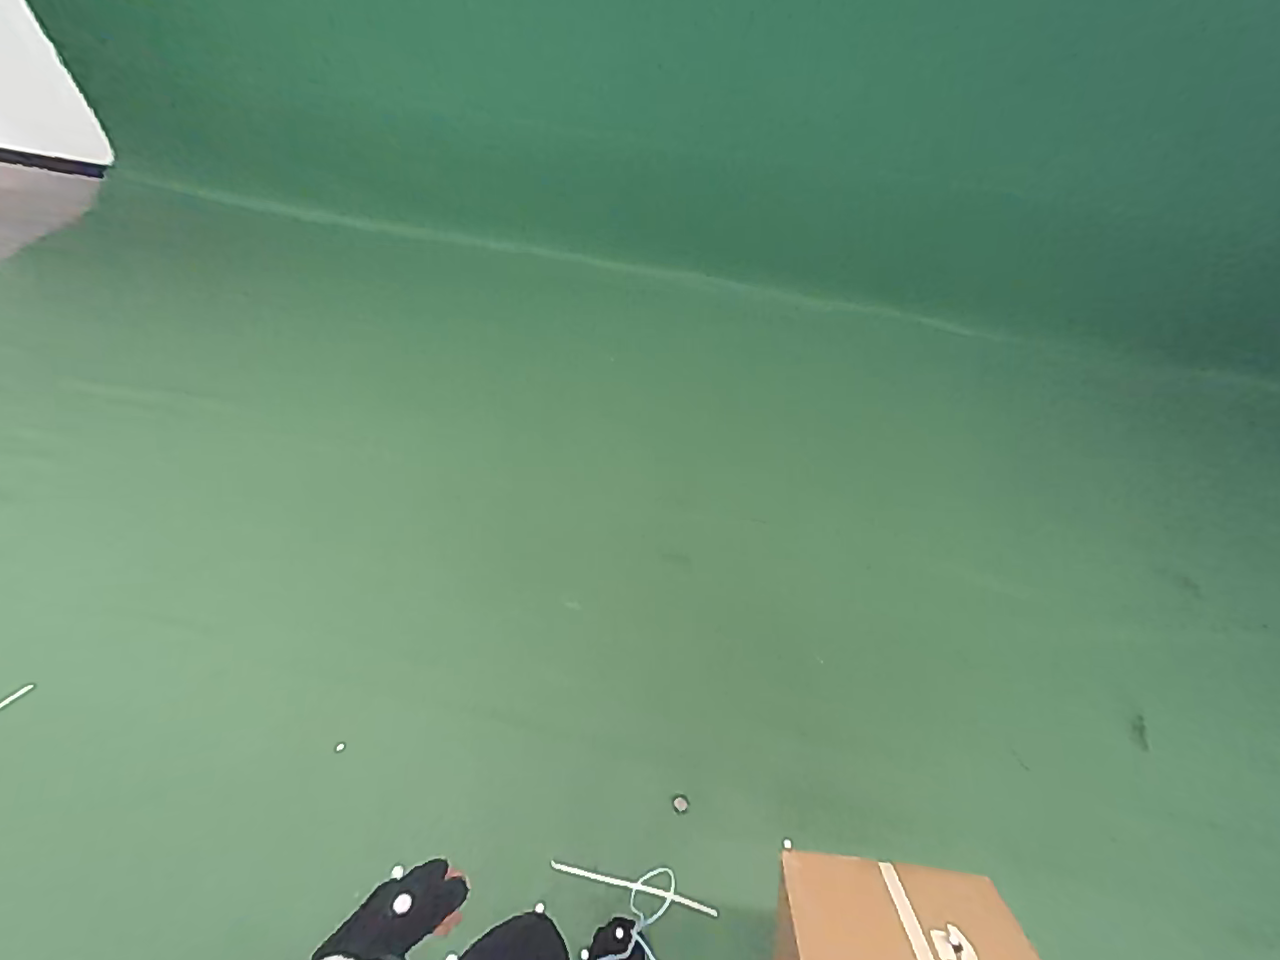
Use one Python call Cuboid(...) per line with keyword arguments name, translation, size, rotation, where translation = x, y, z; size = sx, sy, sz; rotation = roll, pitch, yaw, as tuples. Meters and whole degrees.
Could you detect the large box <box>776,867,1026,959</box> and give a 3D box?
Cuboid(name="large box", translation=(0.346, 0.784, 0.657), size=(0.320, 0.408, 0.320), rotation=(4, 95, 6))
